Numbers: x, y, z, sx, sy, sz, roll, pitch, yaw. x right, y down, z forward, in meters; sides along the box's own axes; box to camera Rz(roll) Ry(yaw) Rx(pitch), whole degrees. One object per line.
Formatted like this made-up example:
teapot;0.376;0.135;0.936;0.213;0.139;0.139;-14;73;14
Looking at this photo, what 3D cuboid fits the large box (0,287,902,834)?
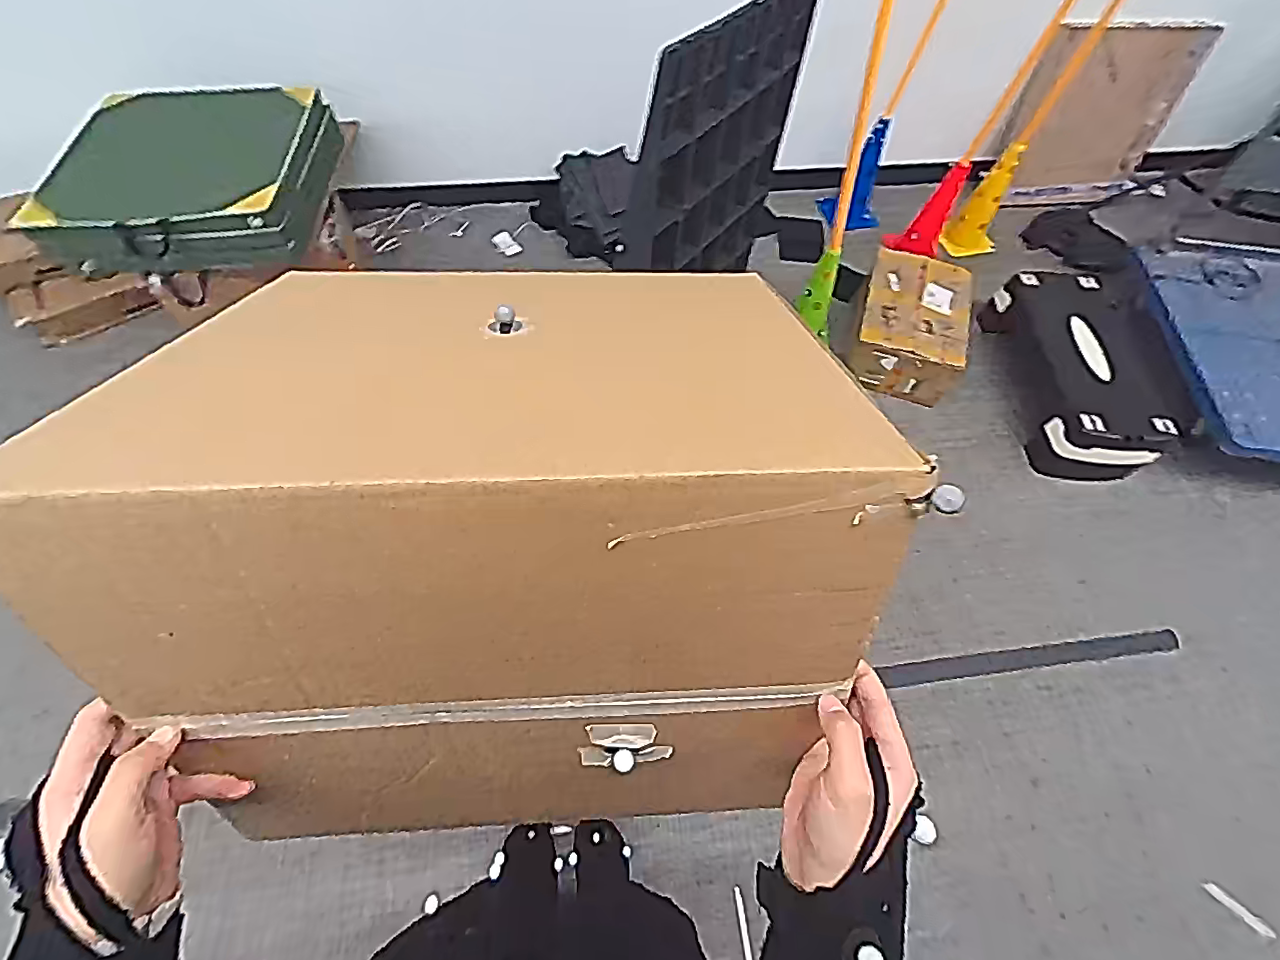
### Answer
large box;-0.089;0.041;0.441;0.408;0.320;0.320;-2;37;-4
